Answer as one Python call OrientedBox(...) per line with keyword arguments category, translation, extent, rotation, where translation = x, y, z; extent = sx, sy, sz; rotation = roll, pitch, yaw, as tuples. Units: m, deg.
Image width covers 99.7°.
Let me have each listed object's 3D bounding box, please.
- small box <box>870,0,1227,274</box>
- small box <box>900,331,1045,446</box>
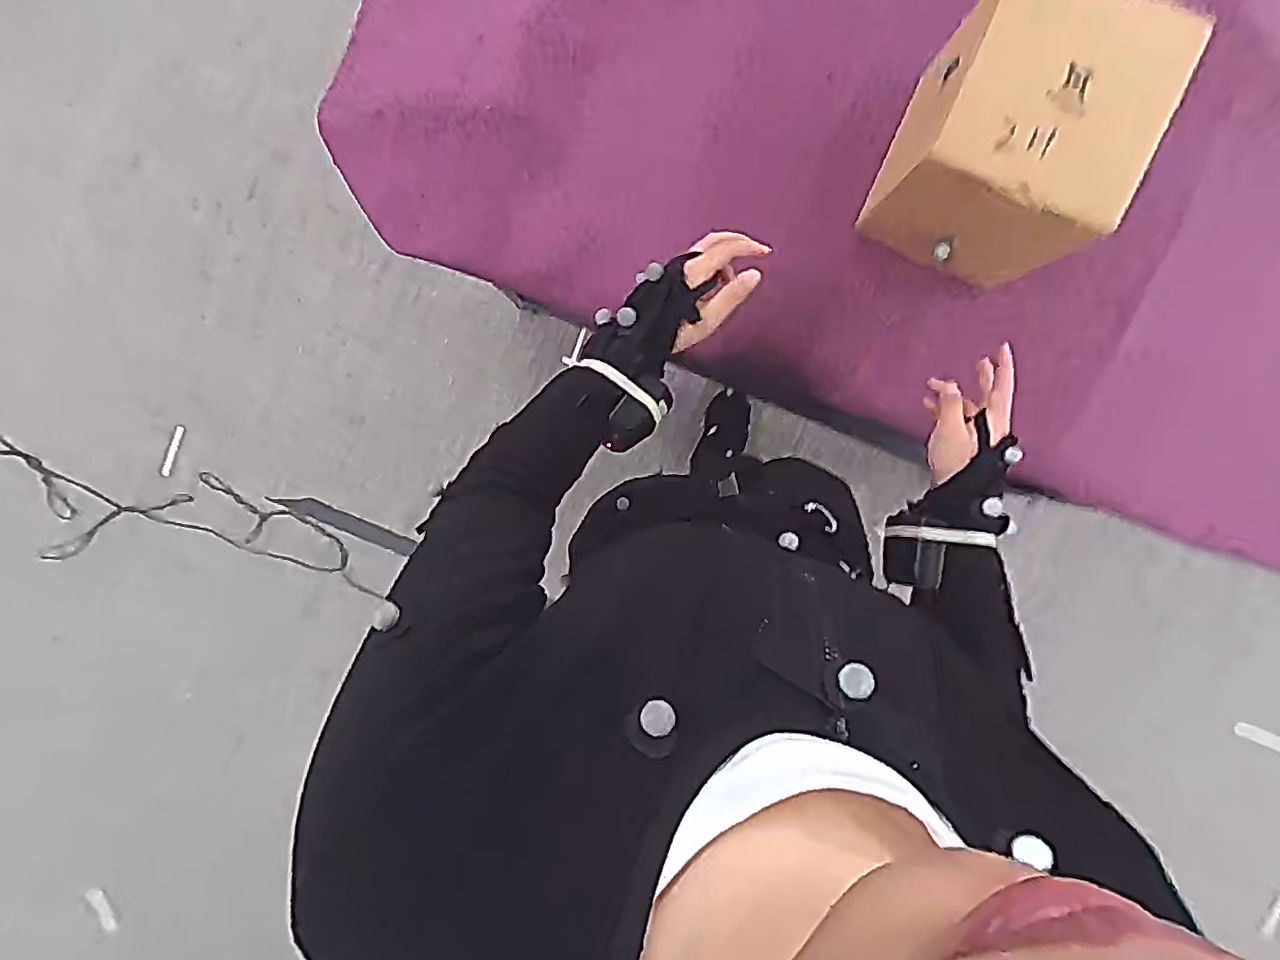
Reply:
OrientedBox(category="small box", translation=(0.343, -0.322, 0.498), extent=(0.168, 0.176, 0.179), rotation=(23, 96, 0))
OrientedBox(category="small box", translation=(0.671, -0.182, 1.119), extent=(0.168, 0.176, 0.179), rotation=(23, 95, 0))
